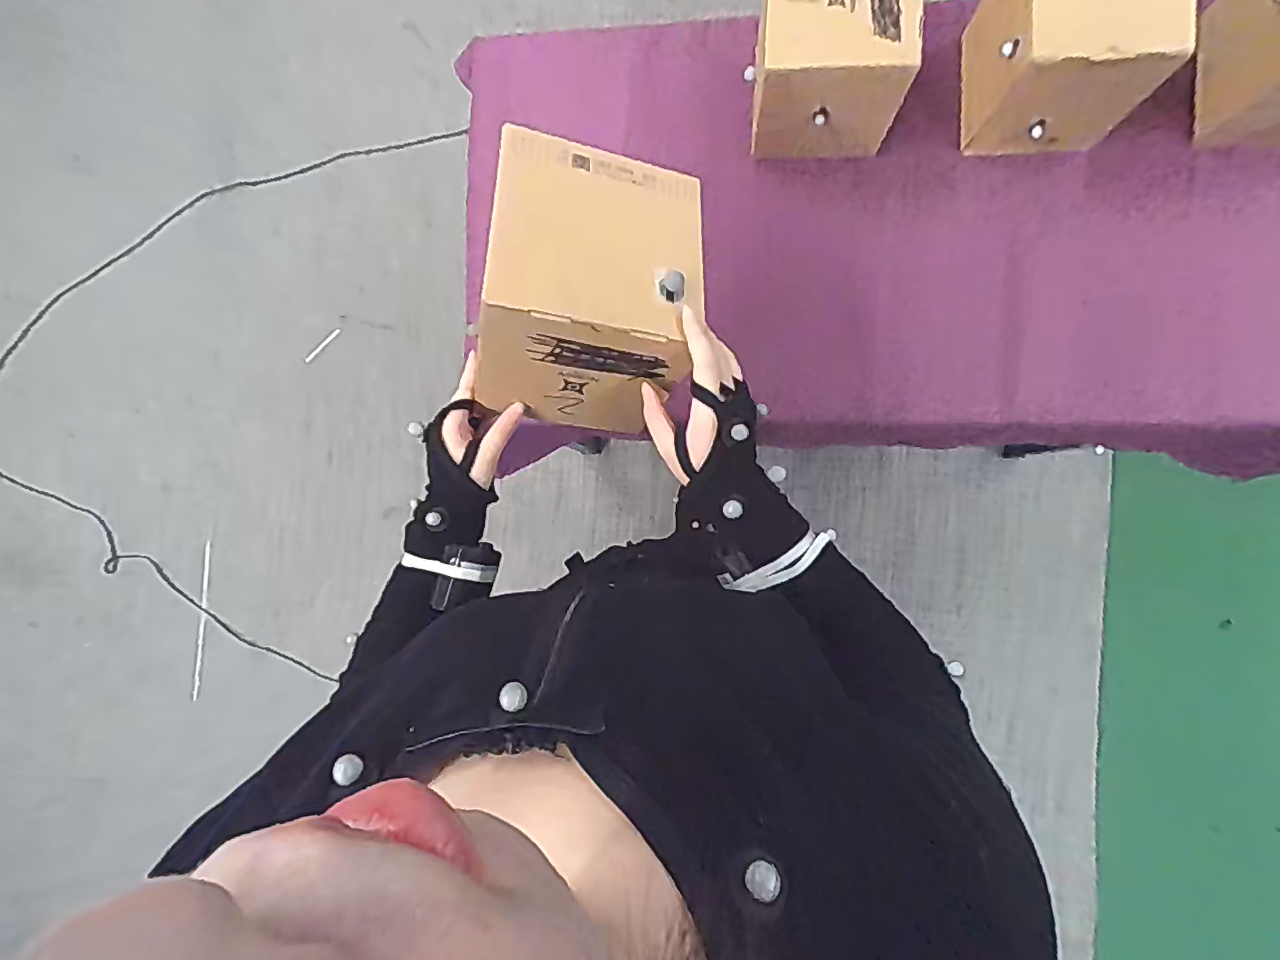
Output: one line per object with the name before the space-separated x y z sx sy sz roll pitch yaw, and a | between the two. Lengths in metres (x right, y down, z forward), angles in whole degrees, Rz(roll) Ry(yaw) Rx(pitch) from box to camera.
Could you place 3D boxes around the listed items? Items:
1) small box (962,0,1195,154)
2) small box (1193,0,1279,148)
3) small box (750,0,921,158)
small box | 0.522 -0.540 0.668 0.168 0.176 0.179 2 89 7
small box | 0.808 -0.522 0.629 0.168 0.176 0.179 4 91 8
small box | 0.242 -0.546 0.699 0.179 0.176 0.168 3 88 8
